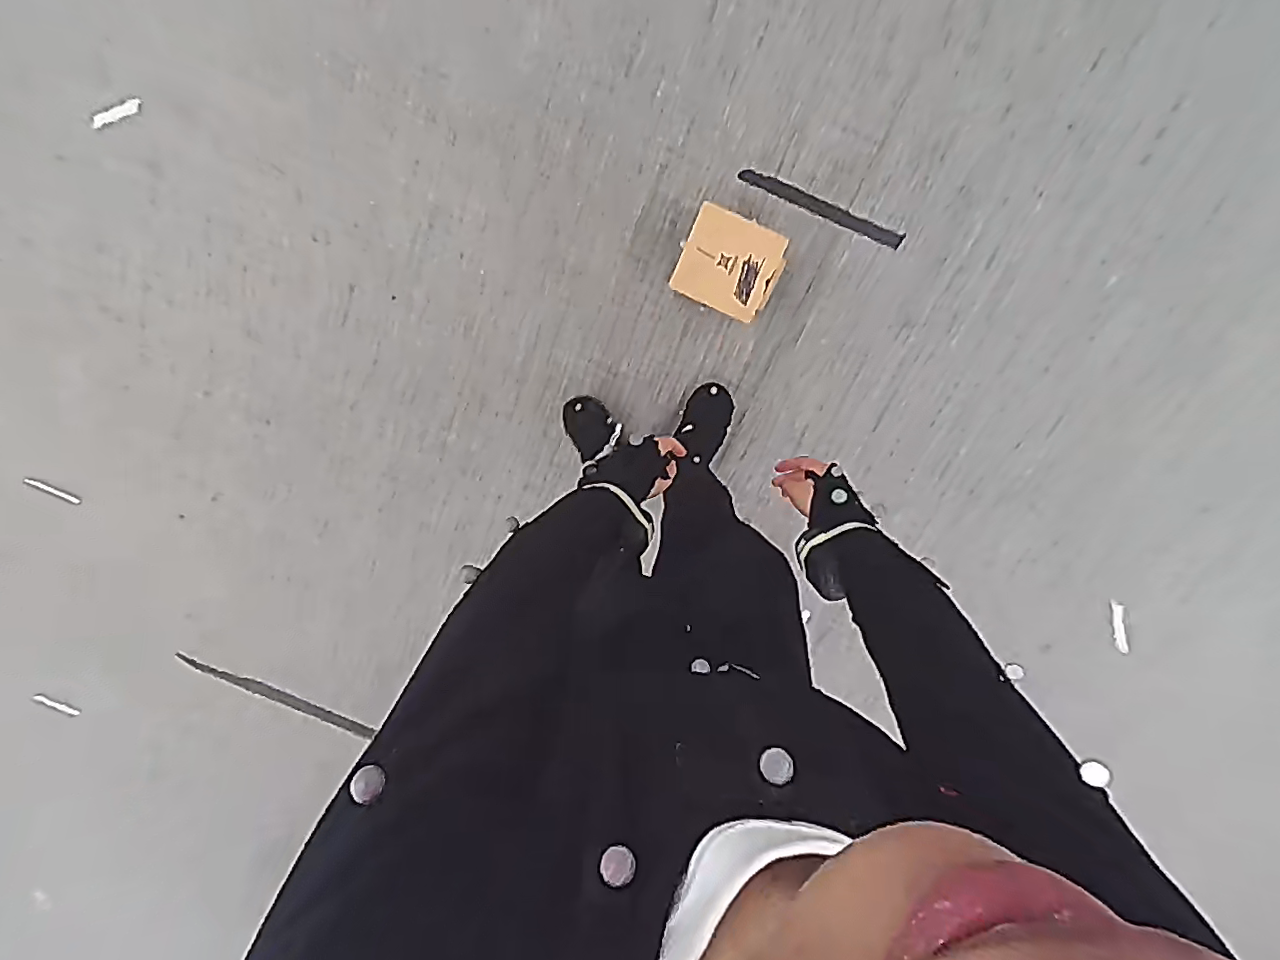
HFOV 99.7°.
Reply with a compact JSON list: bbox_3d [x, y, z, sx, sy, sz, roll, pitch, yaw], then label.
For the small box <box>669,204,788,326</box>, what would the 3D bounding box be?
[{"bbox_3d":[0.174,-0.430,1.095,0.179,0.176,0.168,25,109,-2],"label":"small box"}]
